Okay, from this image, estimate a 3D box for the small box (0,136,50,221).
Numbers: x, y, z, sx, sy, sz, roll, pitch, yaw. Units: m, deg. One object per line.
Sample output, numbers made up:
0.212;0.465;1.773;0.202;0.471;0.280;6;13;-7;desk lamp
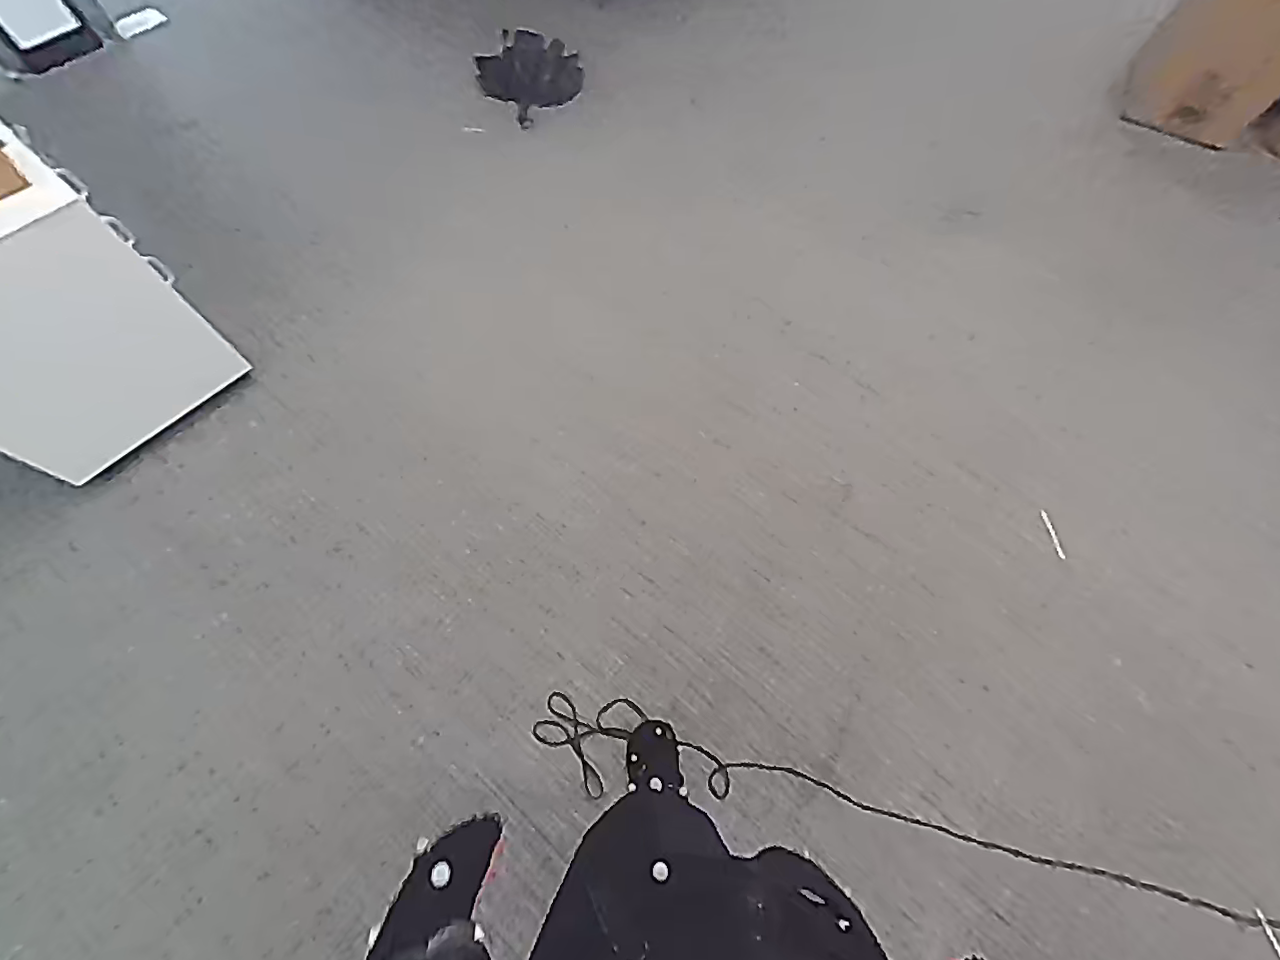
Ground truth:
-1.301;-0.610;1.020;0.179;0.176;0.168;42;72;17;small box
